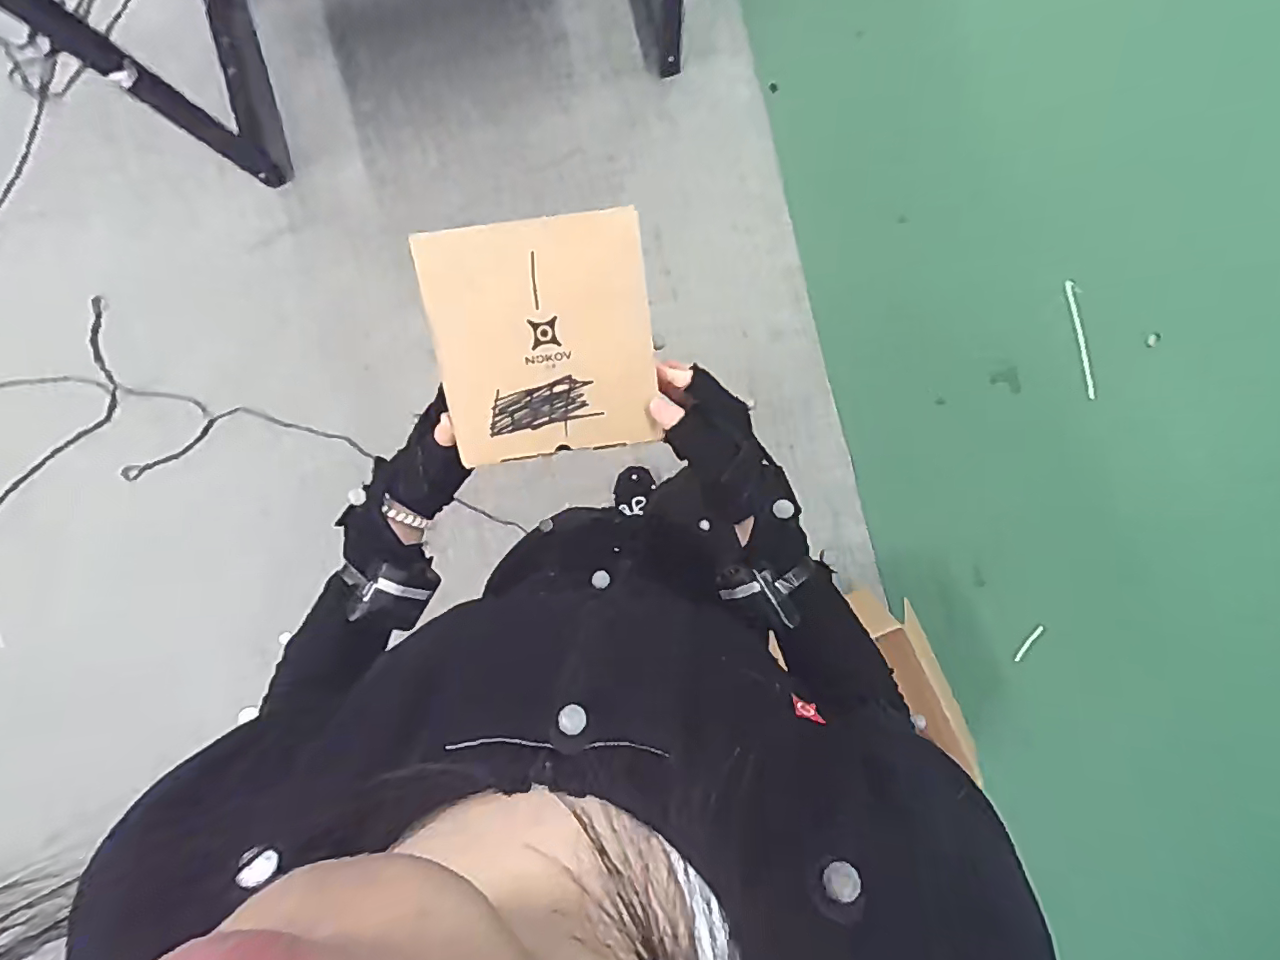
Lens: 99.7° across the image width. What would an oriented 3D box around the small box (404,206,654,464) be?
[{"bbox_3d":[-0.082,-0.128,0.484,0.168,0.176,0.179,-8,107,-2],"label":"small box"}]
